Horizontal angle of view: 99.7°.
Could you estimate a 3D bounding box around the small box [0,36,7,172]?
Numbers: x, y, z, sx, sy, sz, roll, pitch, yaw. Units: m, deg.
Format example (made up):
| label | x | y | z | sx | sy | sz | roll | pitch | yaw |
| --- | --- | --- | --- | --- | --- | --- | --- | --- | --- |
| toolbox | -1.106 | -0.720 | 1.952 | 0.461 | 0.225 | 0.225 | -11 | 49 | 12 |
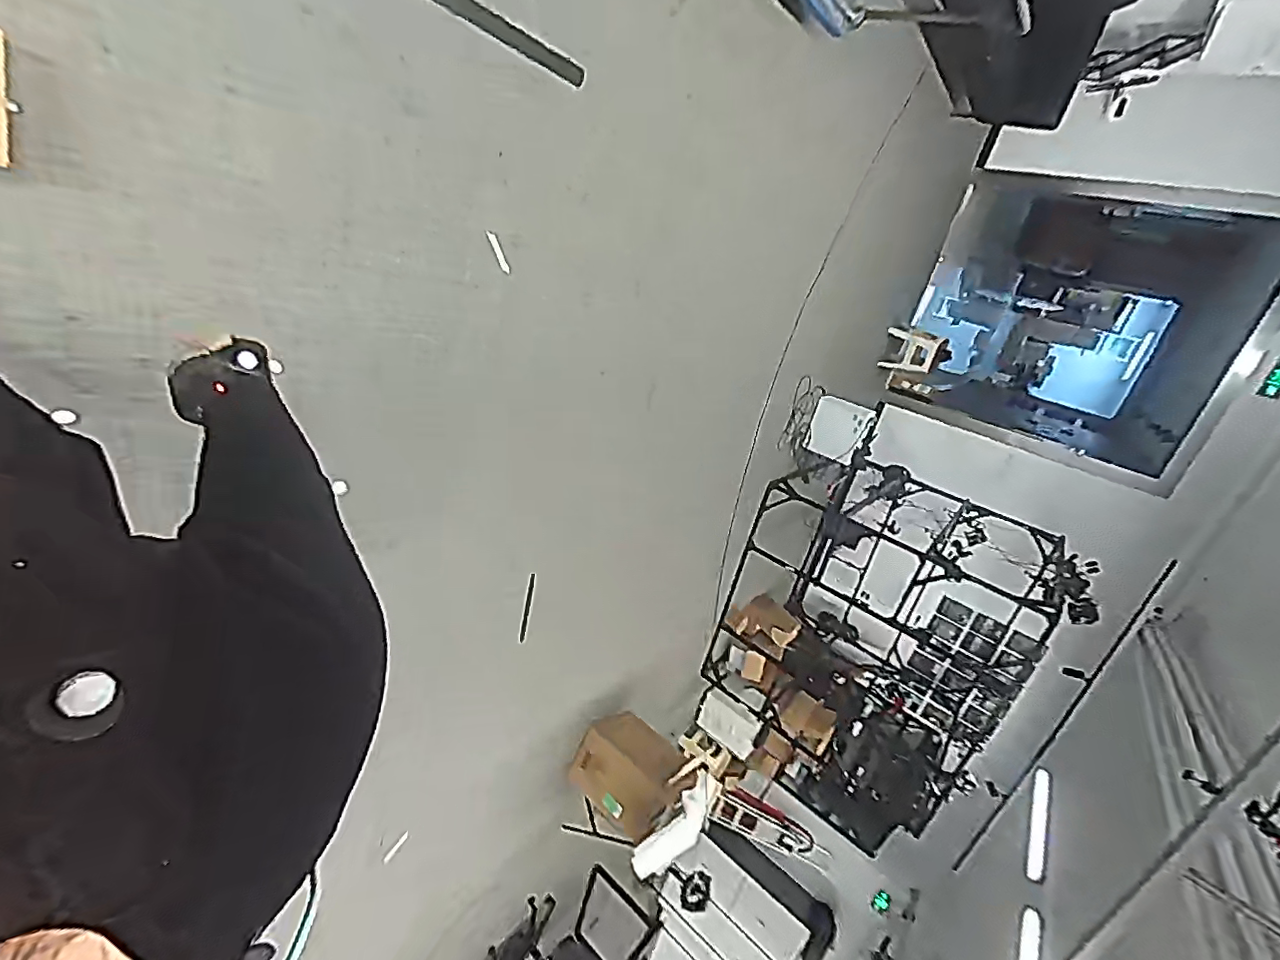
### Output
| label | x | y | z | sx | sy | sz | roll | pitch | yaw |
| --- | --- | --- | --- | --- | --- | --- | --- | --- | --- |
| small box | -0.983 | -0.544 | 0.721 | 0.168 | 0.176 | 0.179 | -7 | 119 | -55 |
